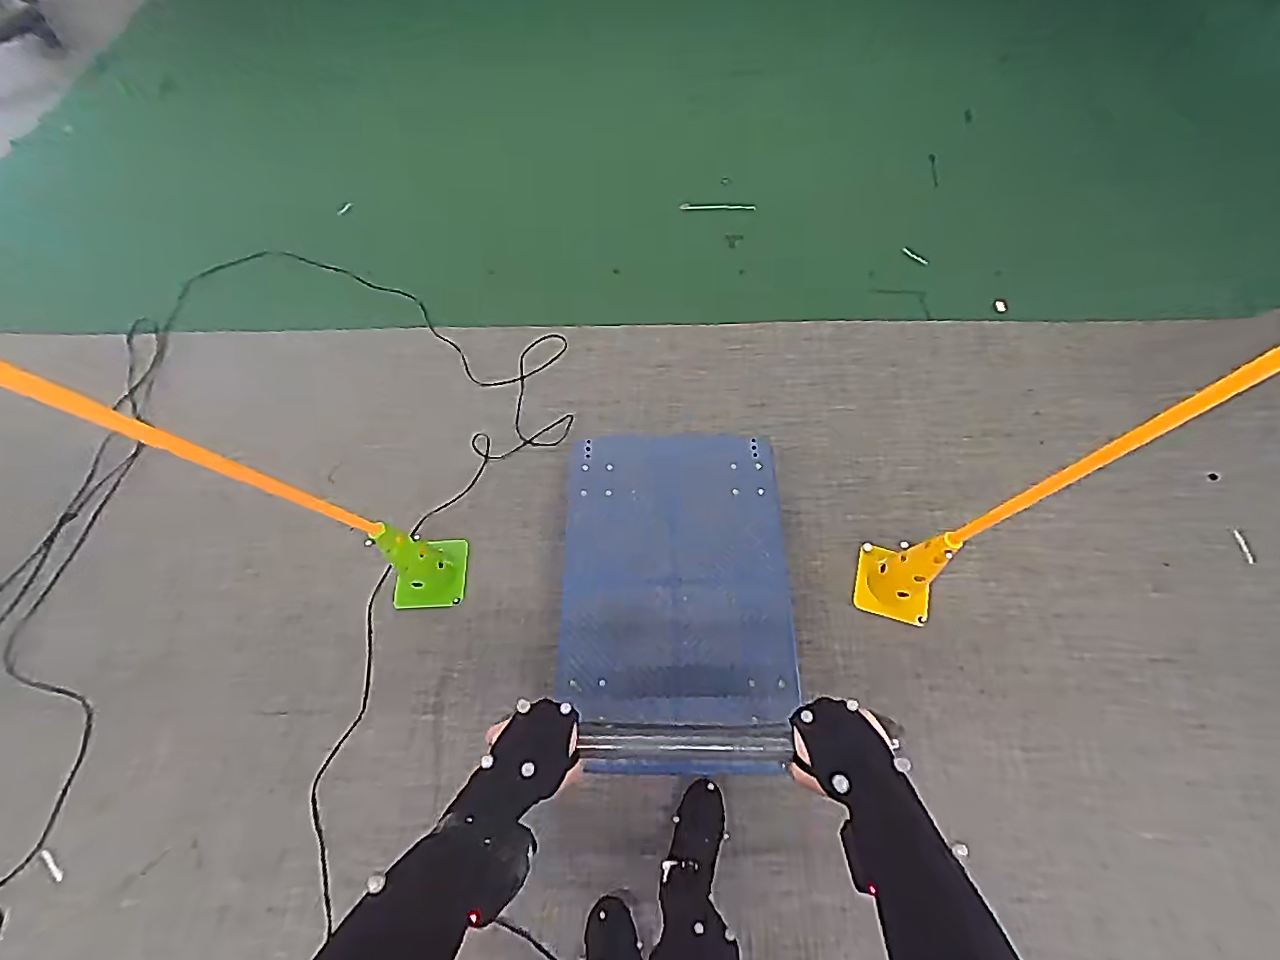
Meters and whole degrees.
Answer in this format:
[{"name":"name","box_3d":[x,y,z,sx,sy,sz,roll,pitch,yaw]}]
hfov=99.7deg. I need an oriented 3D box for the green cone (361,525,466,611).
[{"name":"green cone","box_3d":[-0.623,0.200,1.430,0.202,0.368,0.200,-5,62,1]}]
